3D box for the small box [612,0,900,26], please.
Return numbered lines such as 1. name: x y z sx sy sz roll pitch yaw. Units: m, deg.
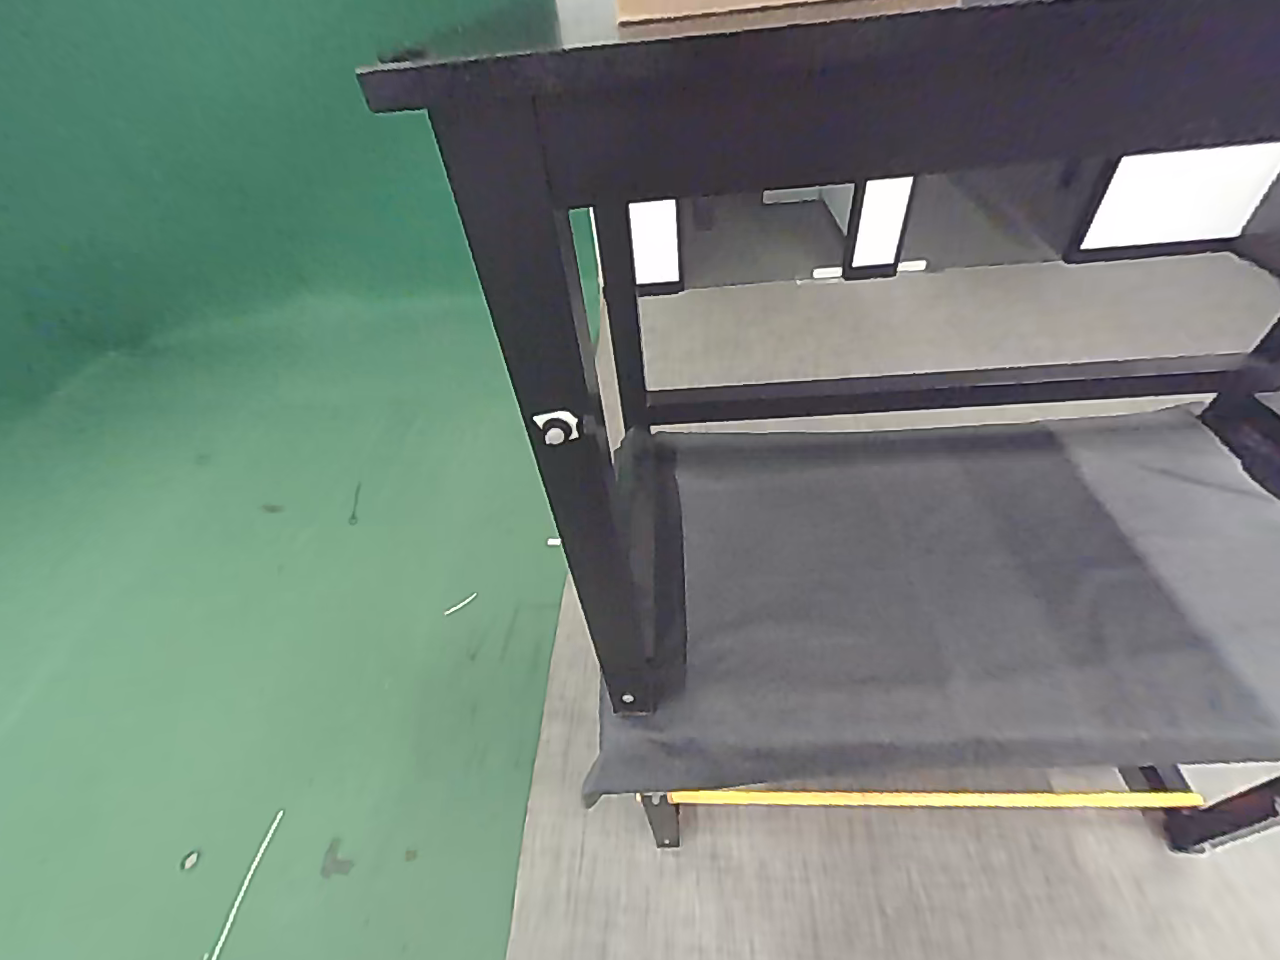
1. small box: 0.063 -0.341 0.264 0.168 0.176 0.179 -2 44 5
